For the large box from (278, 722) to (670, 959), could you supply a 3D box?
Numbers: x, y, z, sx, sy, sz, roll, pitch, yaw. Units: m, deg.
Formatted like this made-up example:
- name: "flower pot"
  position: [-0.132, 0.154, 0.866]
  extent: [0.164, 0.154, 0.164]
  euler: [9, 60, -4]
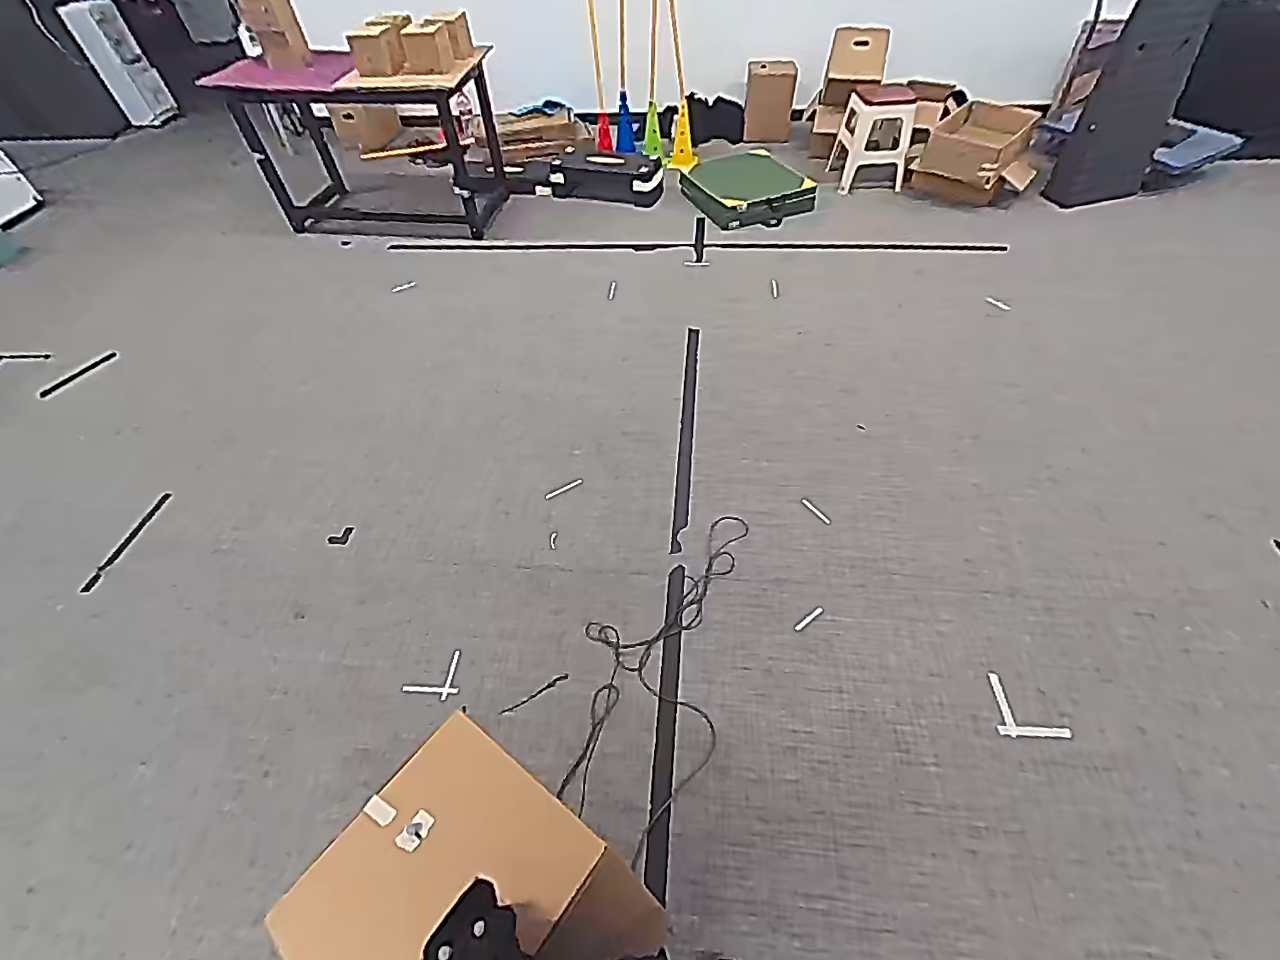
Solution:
- name: "large box"
  position: [-0.203, 0.632, 0.778]
  extent: [0.320, 0.408, 0.320]
  euler: [21, 53, 37]
